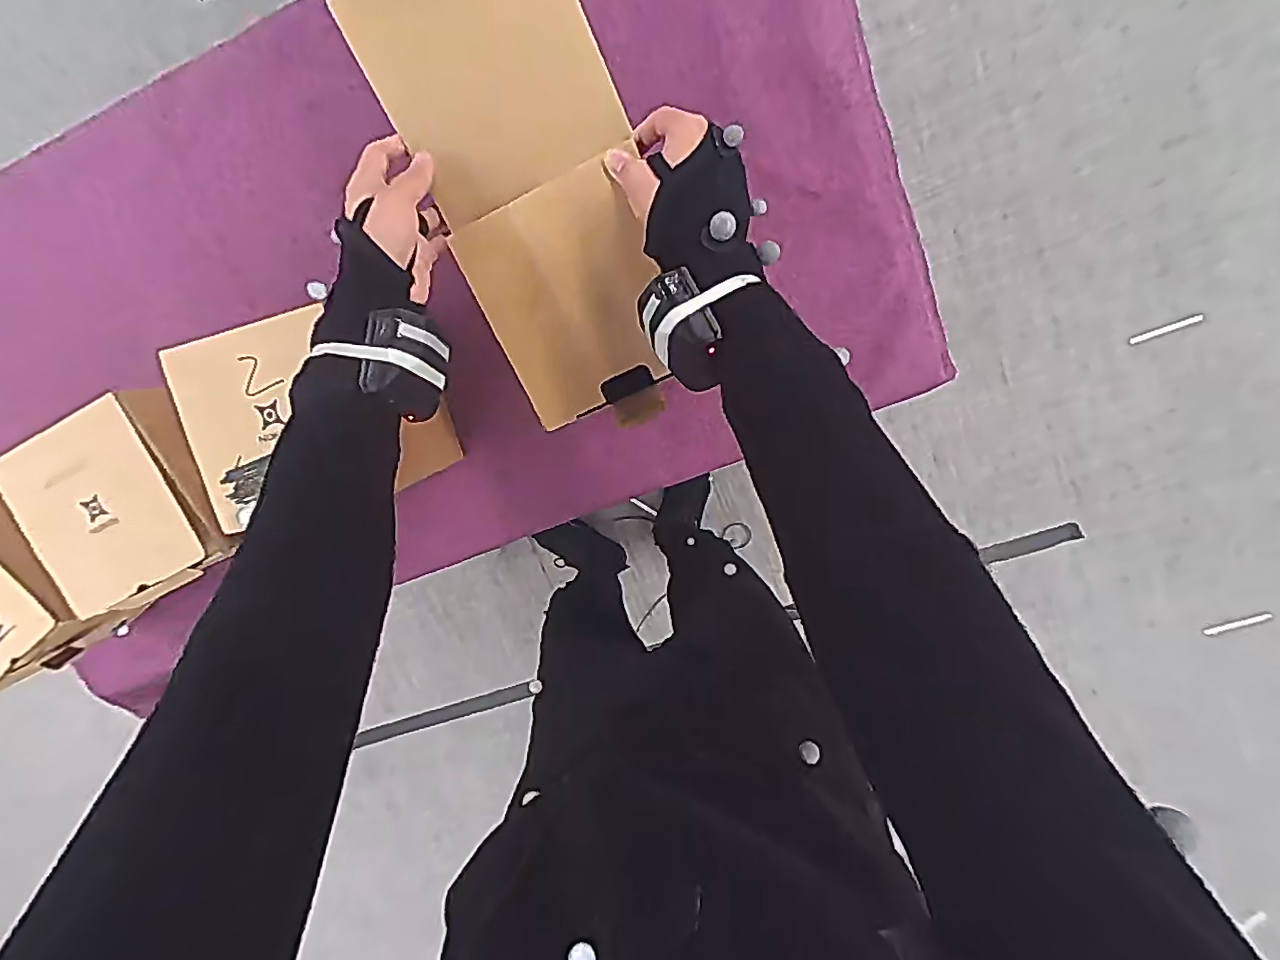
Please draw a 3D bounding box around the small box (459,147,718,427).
[{"bbox_3d":[-0.036,-0.168,0.519,0.168,0.176,0.179,-22,101,10],"label":"small box"}]
